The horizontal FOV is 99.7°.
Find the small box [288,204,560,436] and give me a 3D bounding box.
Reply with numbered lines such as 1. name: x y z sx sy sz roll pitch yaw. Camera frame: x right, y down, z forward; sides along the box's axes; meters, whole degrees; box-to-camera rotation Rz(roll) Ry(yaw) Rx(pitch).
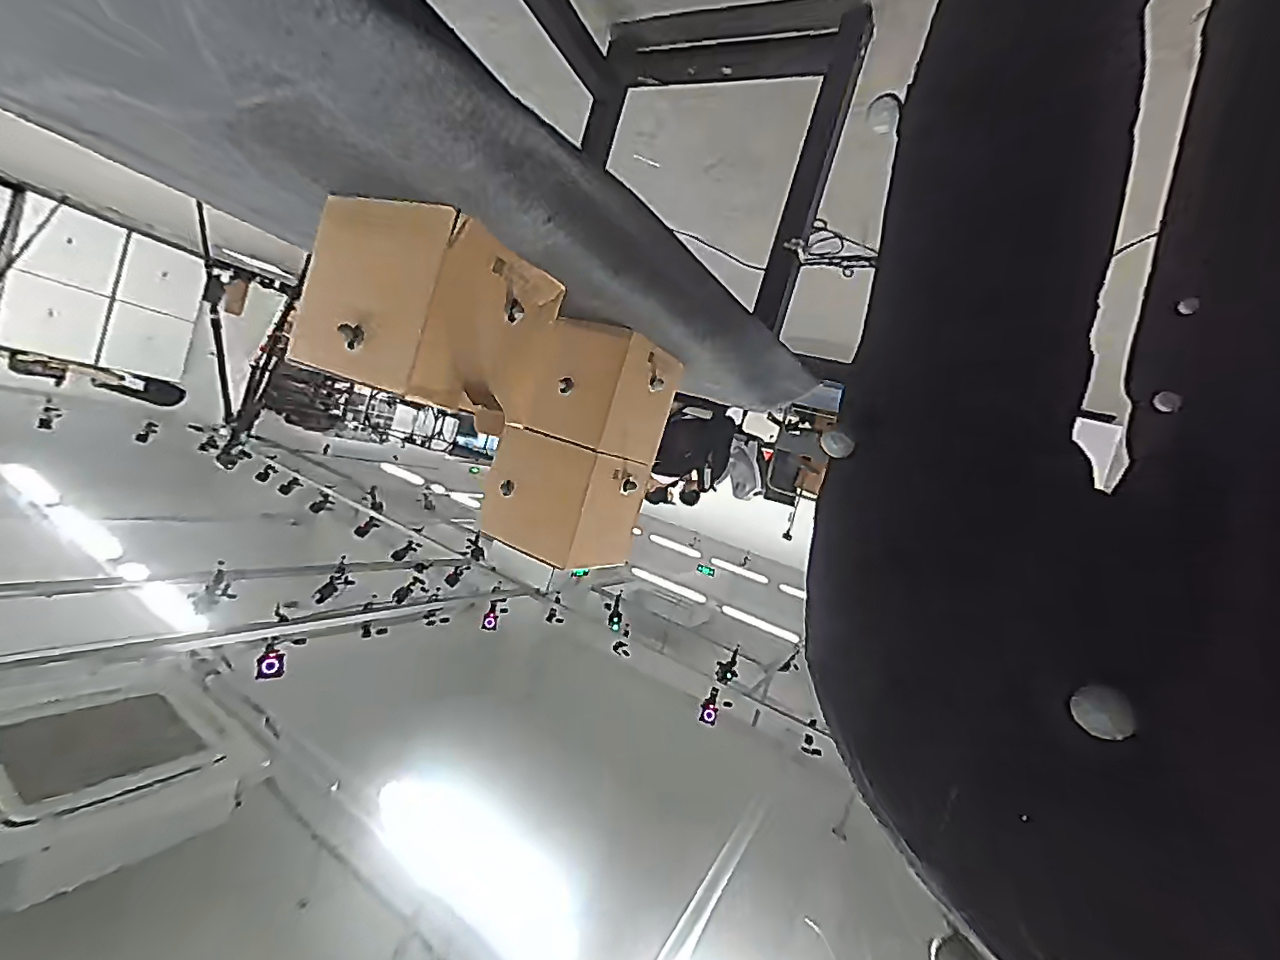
1. small box: -0.210 -0.159 0.554 0.179 0.176 0.168 18 -178 25

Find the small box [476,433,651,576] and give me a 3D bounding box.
1. small box: -0.109 0.031 0.813 0.179 0.176 0.168 17 -176 29

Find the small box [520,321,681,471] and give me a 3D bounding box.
1. small box: -0.063 -0.124 0.806 0.179 0.176 0.168 18 -177 29
